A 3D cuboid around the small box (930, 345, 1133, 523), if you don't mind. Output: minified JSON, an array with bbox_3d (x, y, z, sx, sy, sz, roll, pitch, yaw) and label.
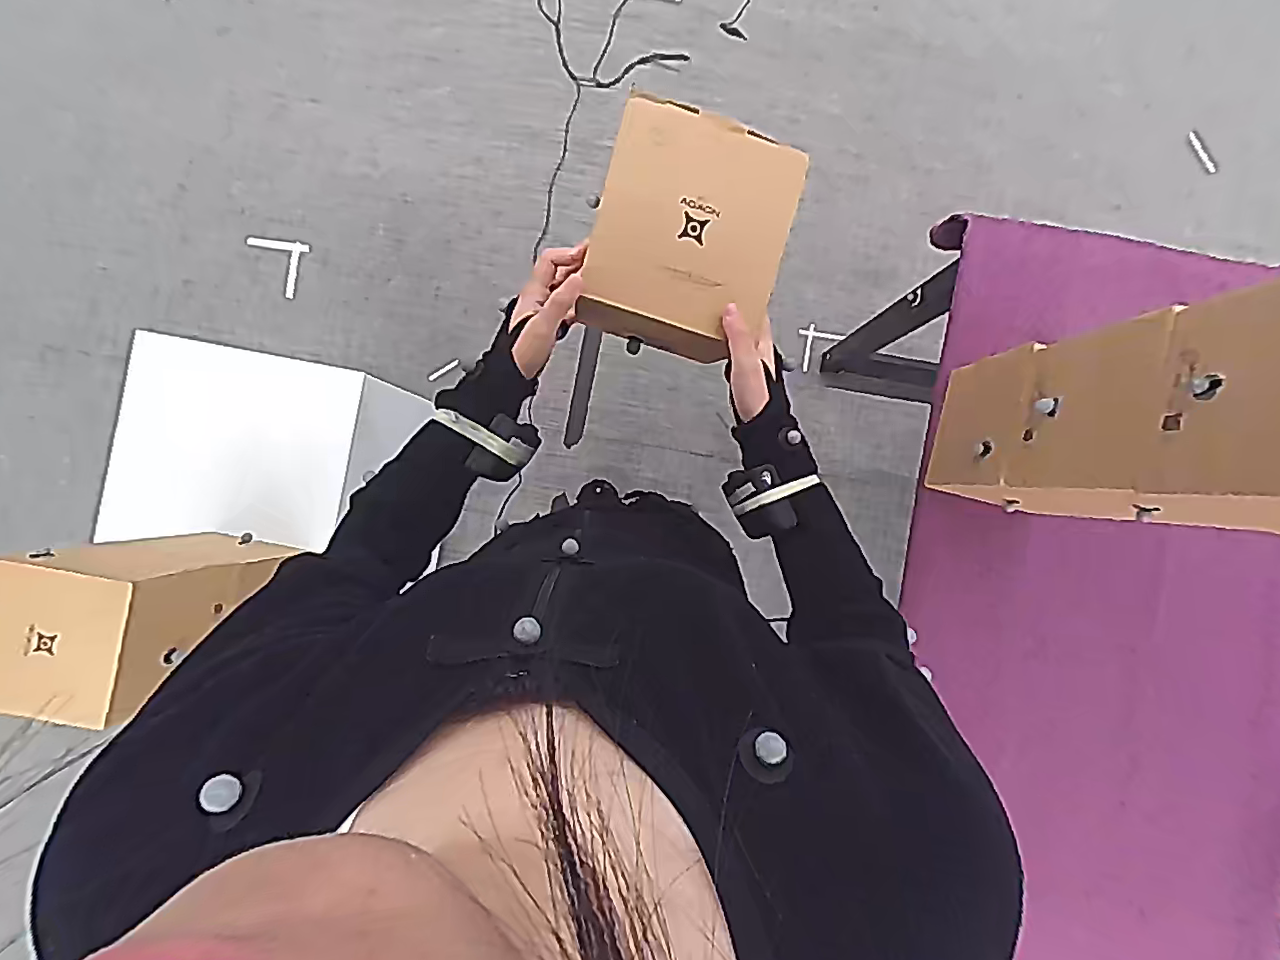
[{"bbox_3d":[0.512,-0.053,0.704,0.168,0.176,0.179,14,89,-1],"label":"small box"}]

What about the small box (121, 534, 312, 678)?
[{"bbox_3d":[-0.649,0.180,0.827,0.179,0.176,0.168,11,89,0],"label":"small box"}]

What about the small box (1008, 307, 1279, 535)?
[{"bbox_3d":[0.521,-0.049,0.539,0.179,0.176,0.168,13,89,1],"label":"small box"}]

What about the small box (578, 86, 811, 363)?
[{"bbox_3d":[0.036,-0.227,0.536,0.168,0.176,0.179,16,96,-9],"label":"small box"}]

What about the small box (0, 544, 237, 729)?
[{"bbox_3d":[-0.646,0.177,0.663,0.179,0.176,0.168,10,89,0],"label":"small box"}]
